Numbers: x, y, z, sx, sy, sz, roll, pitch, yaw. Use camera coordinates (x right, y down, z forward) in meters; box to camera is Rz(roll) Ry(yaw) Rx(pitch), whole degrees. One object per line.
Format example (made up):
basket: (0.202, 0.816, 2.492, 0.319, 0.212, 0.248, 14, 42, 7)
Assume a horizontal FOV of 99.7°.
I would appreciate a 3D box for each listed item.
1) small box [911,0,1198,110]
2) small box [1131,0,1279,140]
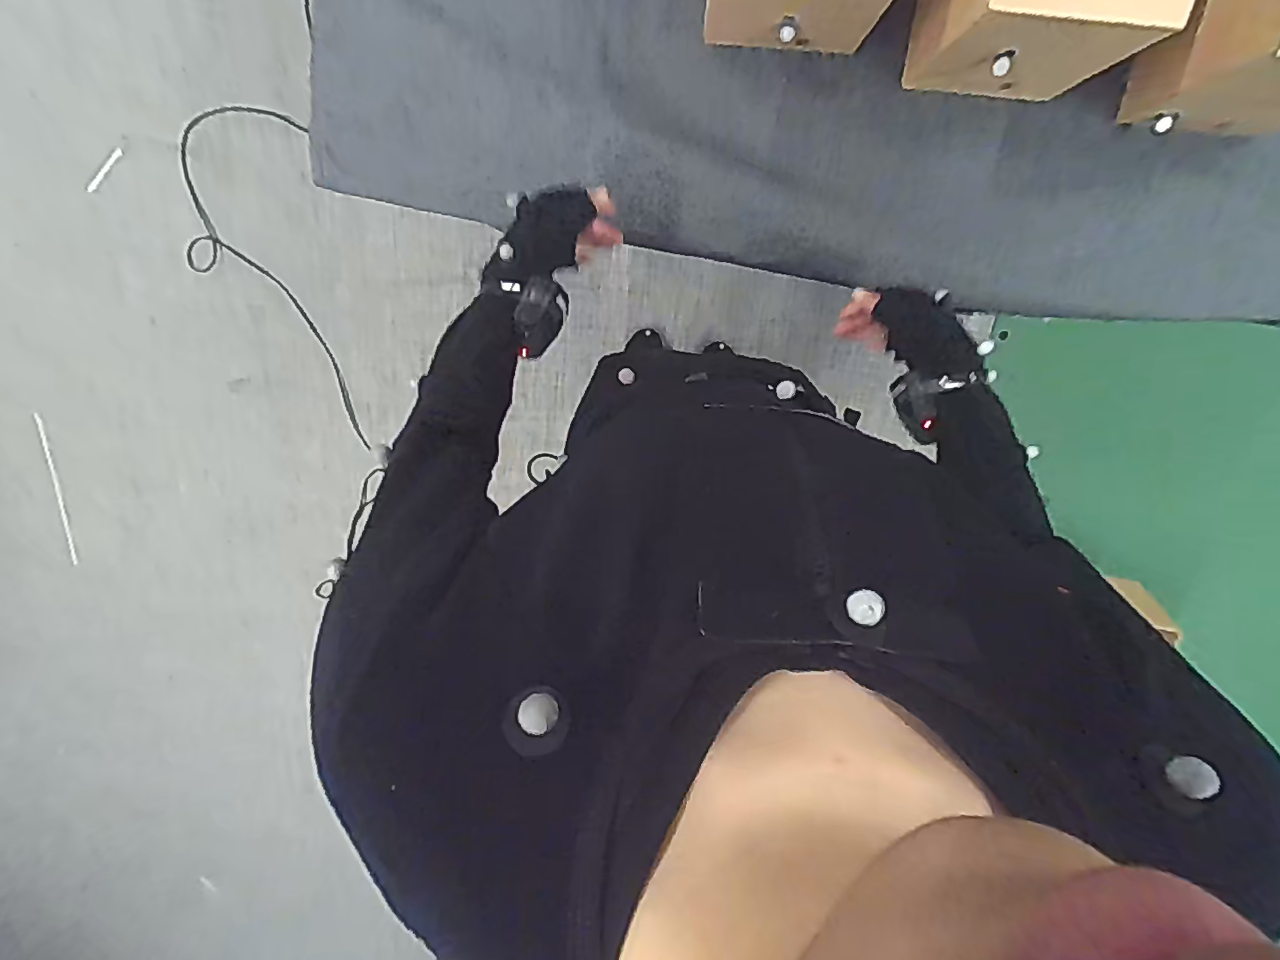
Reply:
small box: (0.376, -0.471, 0.496, 0.168, 0.176, 0.179, 6, 106, 1)
small box: (0.615, -0.437, 0.495, 0.168, 0.176, 0.179, 5, 106, 0)
